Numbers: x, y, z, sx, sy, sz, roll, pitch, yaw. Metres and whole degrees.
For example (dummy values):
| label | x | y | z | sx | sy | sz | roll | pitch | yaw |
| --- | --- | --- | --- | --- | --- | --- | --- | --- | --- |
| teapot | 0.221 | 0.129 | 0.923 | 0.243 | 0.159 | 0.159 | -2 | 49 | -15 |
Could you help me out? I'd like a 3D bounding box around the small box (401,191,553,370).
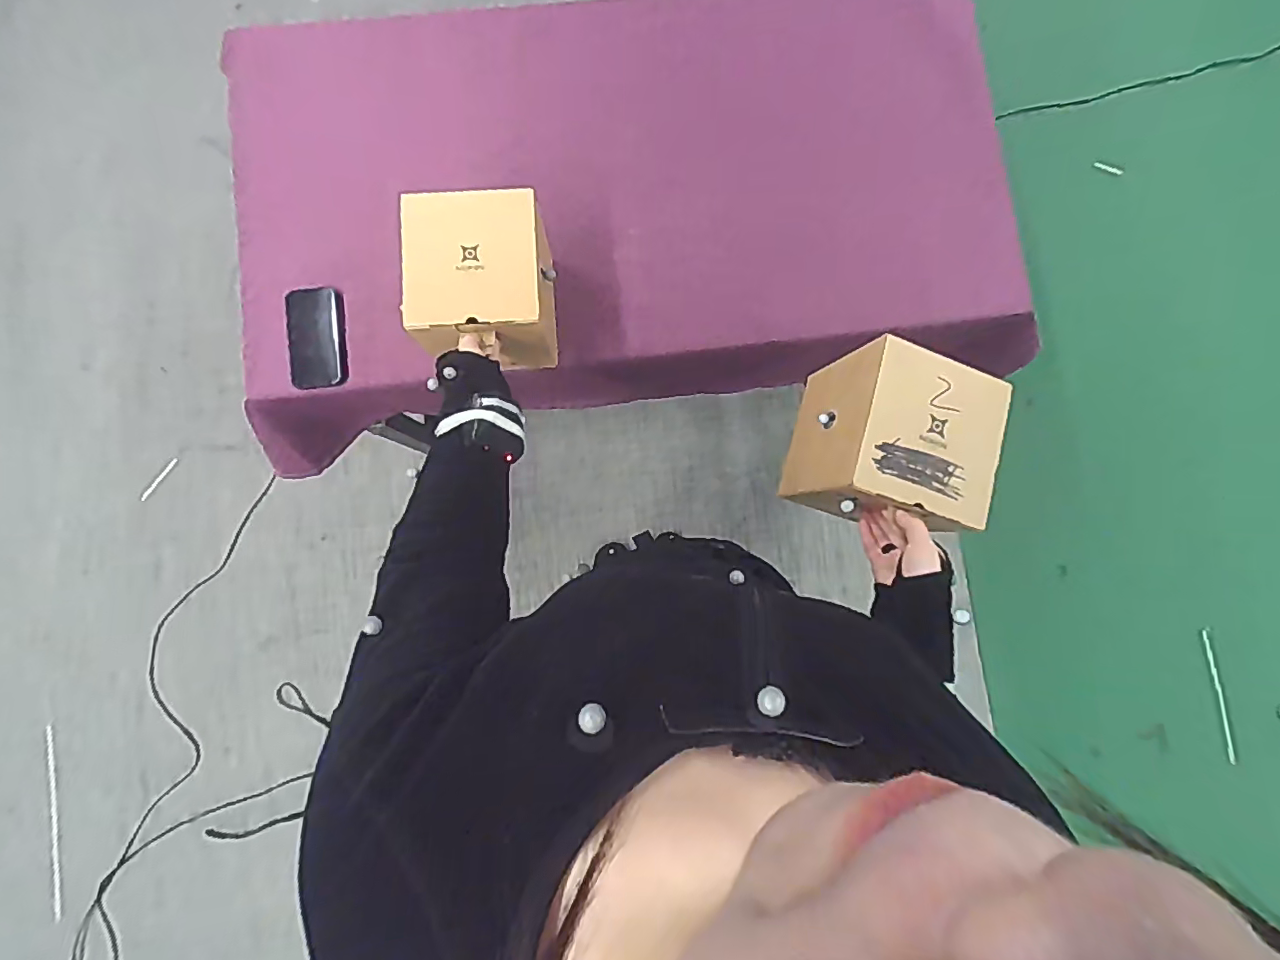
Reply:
| label | x | y | z | sx | sy | sz | roll | pitch | yaw |
| --- | --- | --- | --- | --- | --- | --- | --- | --- | --- |
| small box | -0.211 | -0.262 | 0.737 | 0.168 | 0.176 | 0.179 | -3 | 84 | -3 |
